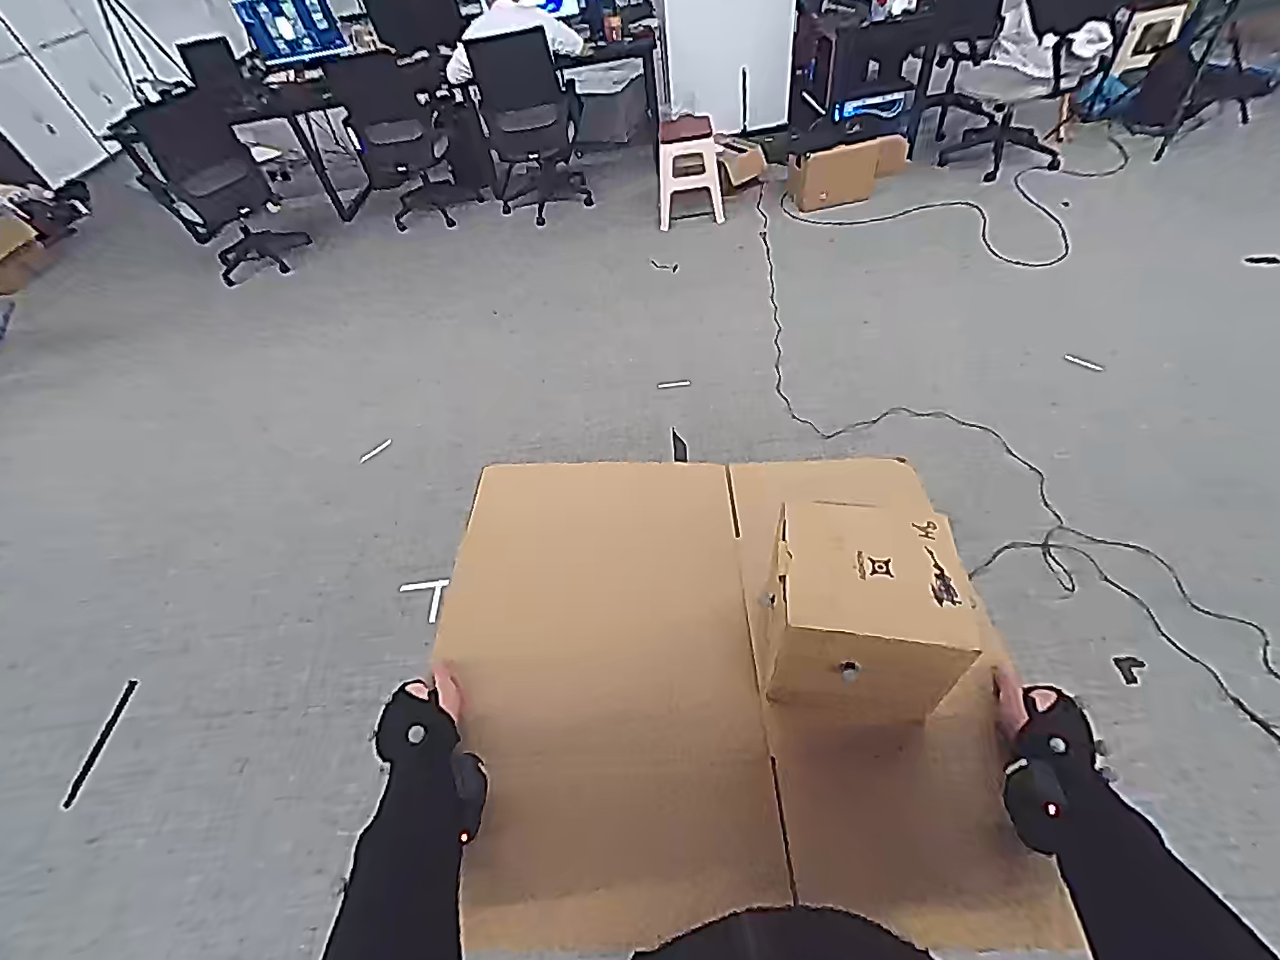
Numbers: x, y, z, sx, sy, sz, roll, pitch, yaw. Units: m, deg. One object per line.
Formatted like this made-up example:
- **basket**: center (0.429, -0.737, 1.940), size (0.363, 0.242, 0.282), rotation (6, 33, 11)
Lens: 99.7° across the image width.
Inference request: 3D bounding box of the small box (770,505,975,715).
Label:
- **small box**: center (0.244, 0.149, 0.619), size (0.179, 0.176, 0.168), rotation (4, 47, 10)
